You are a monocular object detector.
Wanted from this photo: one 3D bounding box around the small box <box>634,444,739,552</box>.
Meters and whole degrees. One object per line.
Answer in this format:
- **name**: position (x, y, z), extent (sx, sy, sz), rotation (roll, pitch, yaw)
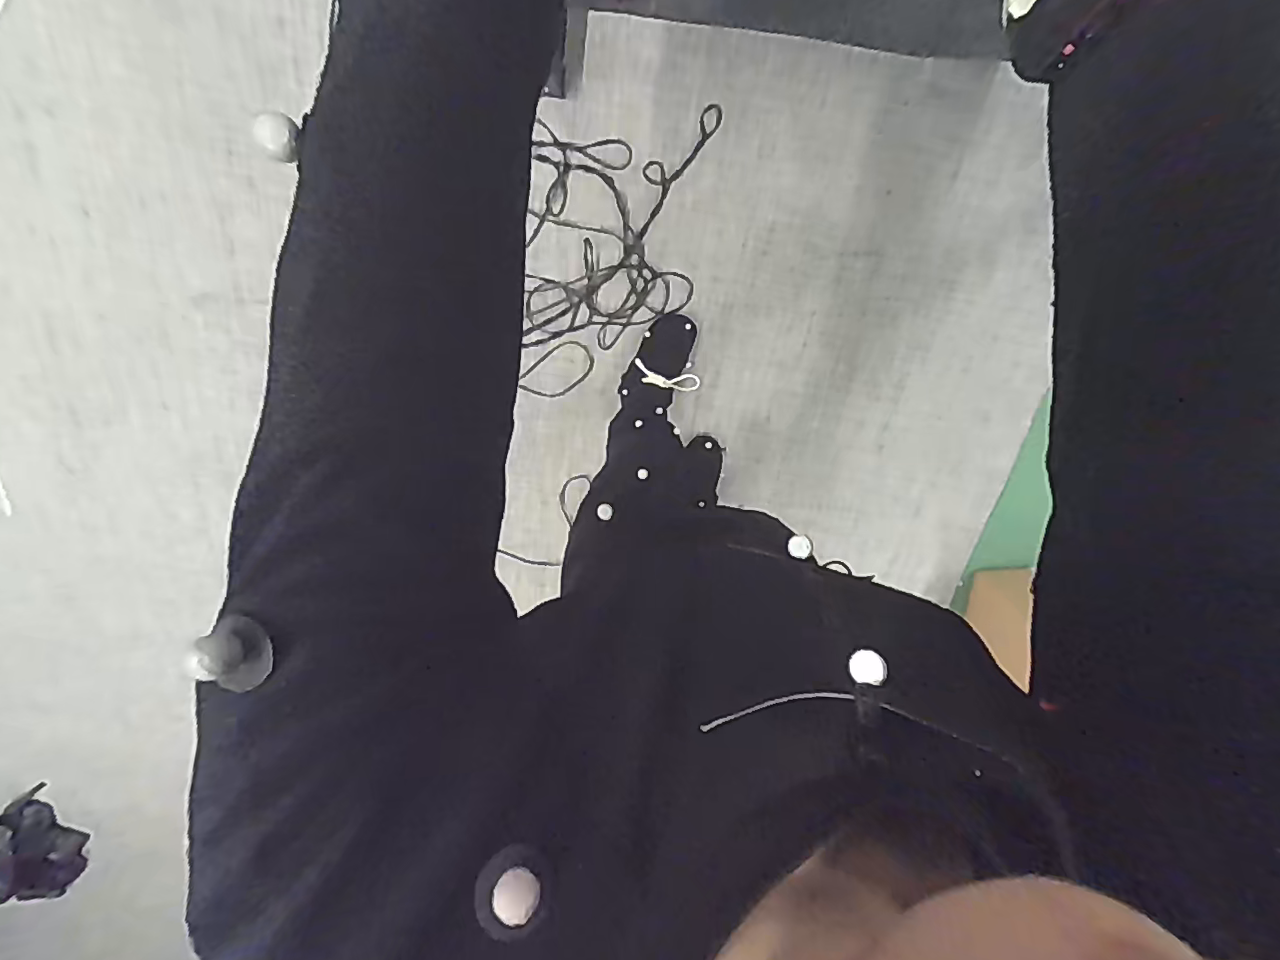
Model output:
- **small box**: position (0.110, 0.048, 1.246), extent (0.176, 0.168, 0.179), rotation (-18, 120, 26)
